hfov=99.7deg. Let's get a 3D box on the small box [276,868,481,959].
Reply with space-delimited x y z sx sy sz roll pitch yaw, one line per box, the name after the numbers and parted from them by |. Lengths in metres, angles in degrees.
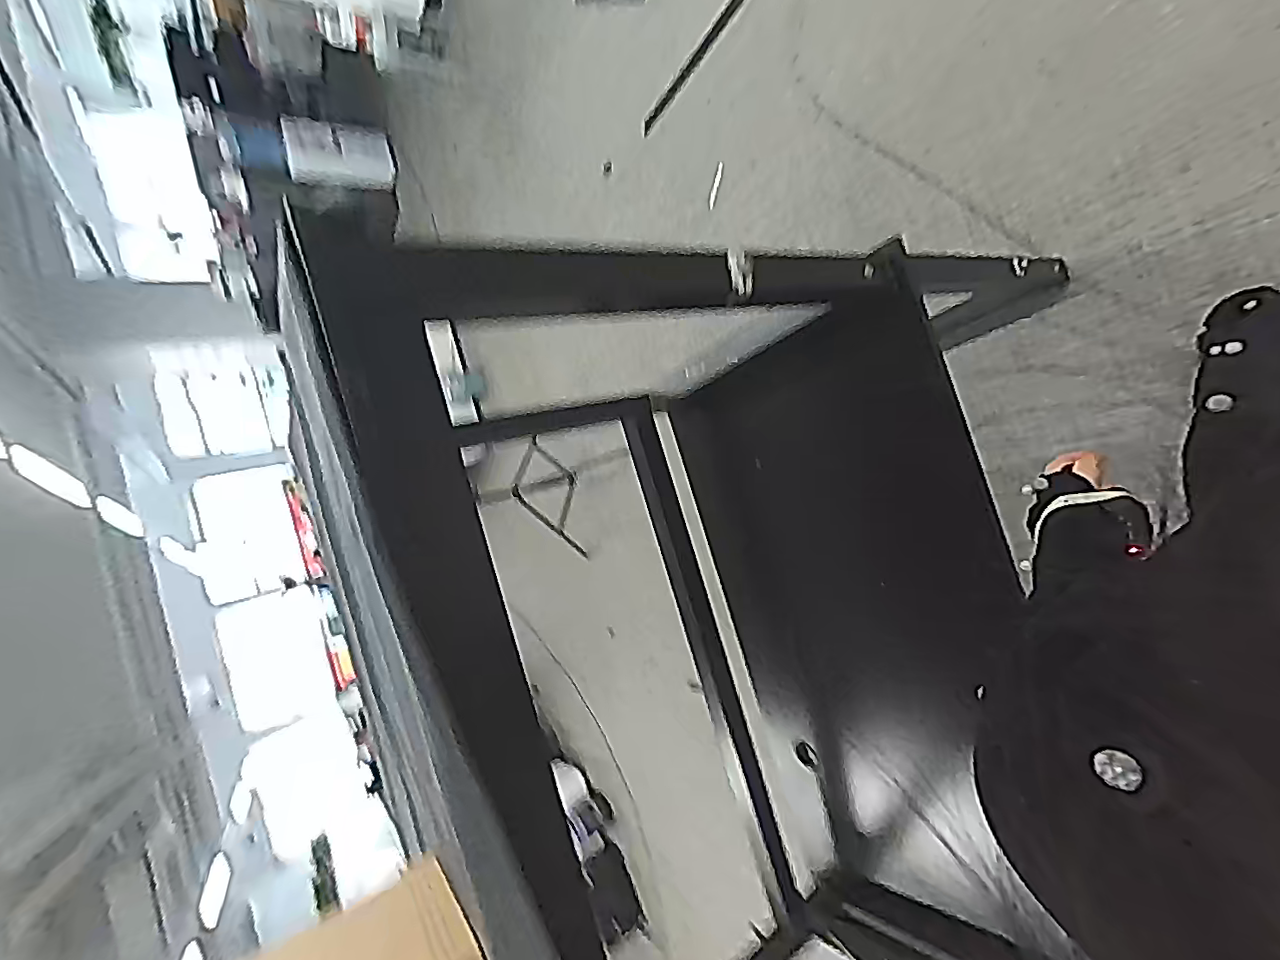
-0.191 0.428 0.385 0.179 0.176 0.168 -22 84 58 | small box
